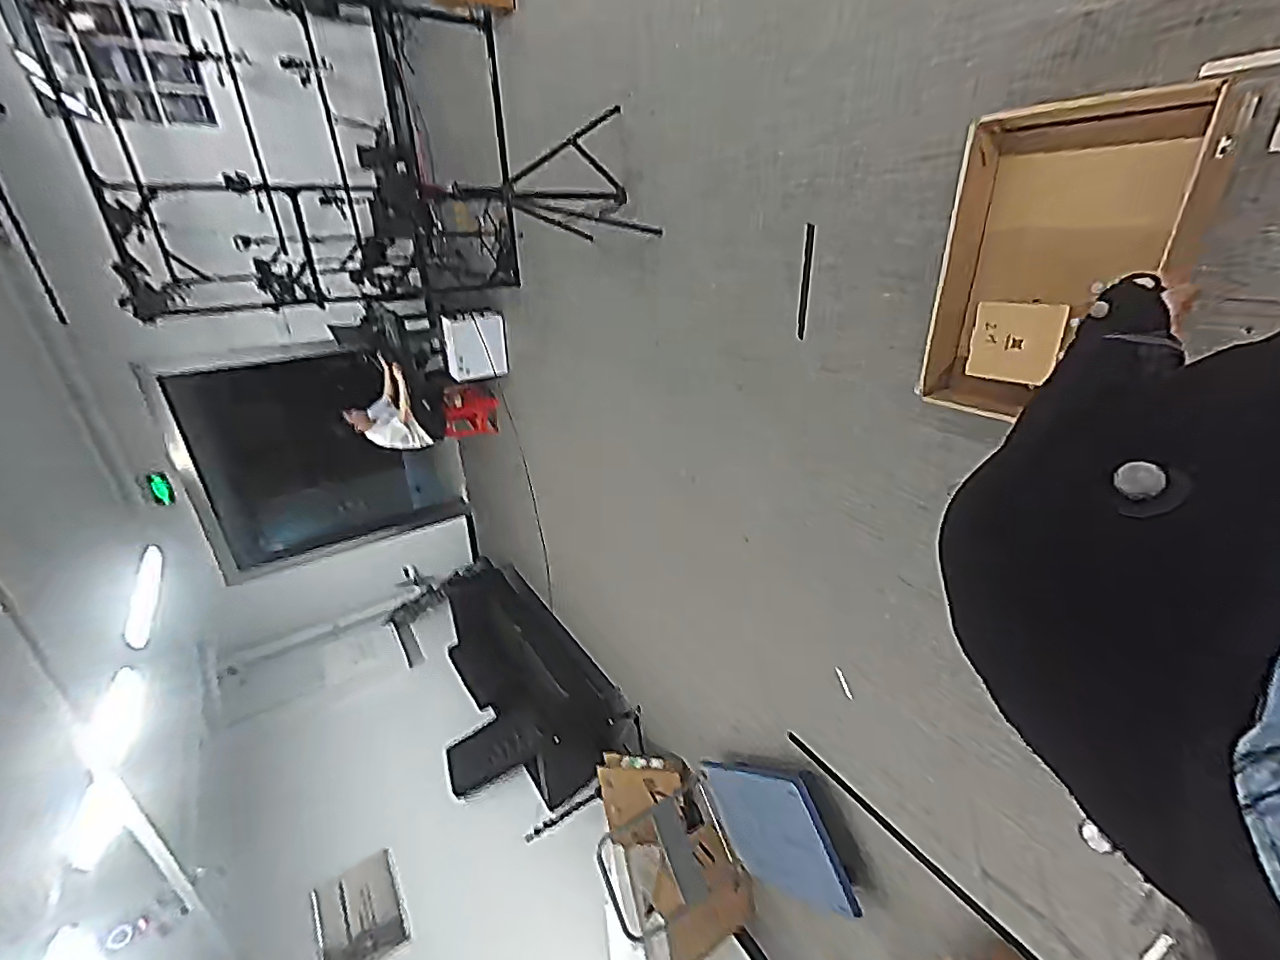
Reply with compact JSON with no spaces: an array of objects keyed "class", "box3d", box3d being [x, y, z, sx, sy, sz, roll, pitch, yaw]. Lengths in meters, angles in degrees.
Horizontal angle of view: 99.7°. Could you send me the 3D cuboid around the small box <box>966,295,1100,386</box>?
[{"class":"small box","box3d":[0.868,-0.316,1.195,0.179,0.176,0.168,29,128,50]}]
